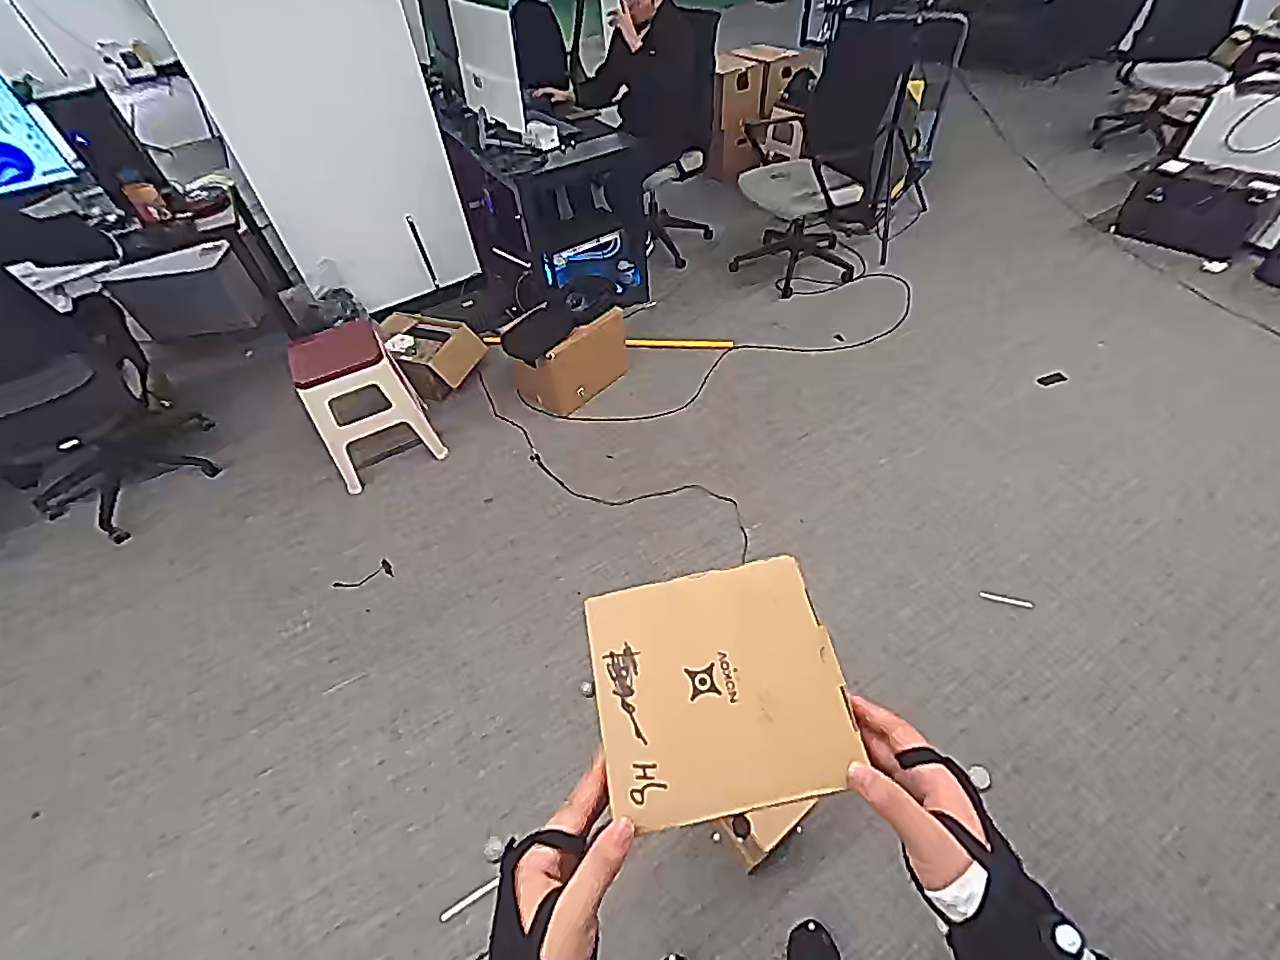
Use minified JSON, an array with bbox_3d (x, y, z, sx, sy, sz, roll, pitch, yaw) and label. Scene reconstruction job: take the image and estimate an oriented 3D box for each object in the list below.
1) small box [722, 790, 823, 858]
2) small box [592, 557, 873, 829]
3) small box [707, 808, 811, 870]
[{"bbox_3d":[0.247,0.629,1.102,0.179,0.176,0.168,-31,54,-22],"label":"small box"},{"bbox_3d":[0.064,0.188,0.465,0.179,0.176,0.168,-11,56,-2],"label":"small box"},{"bbox_3d":[0.253,0.739,1.222,0.179,0.176,0.168,-30,53,-19],"label":"small box"}]
